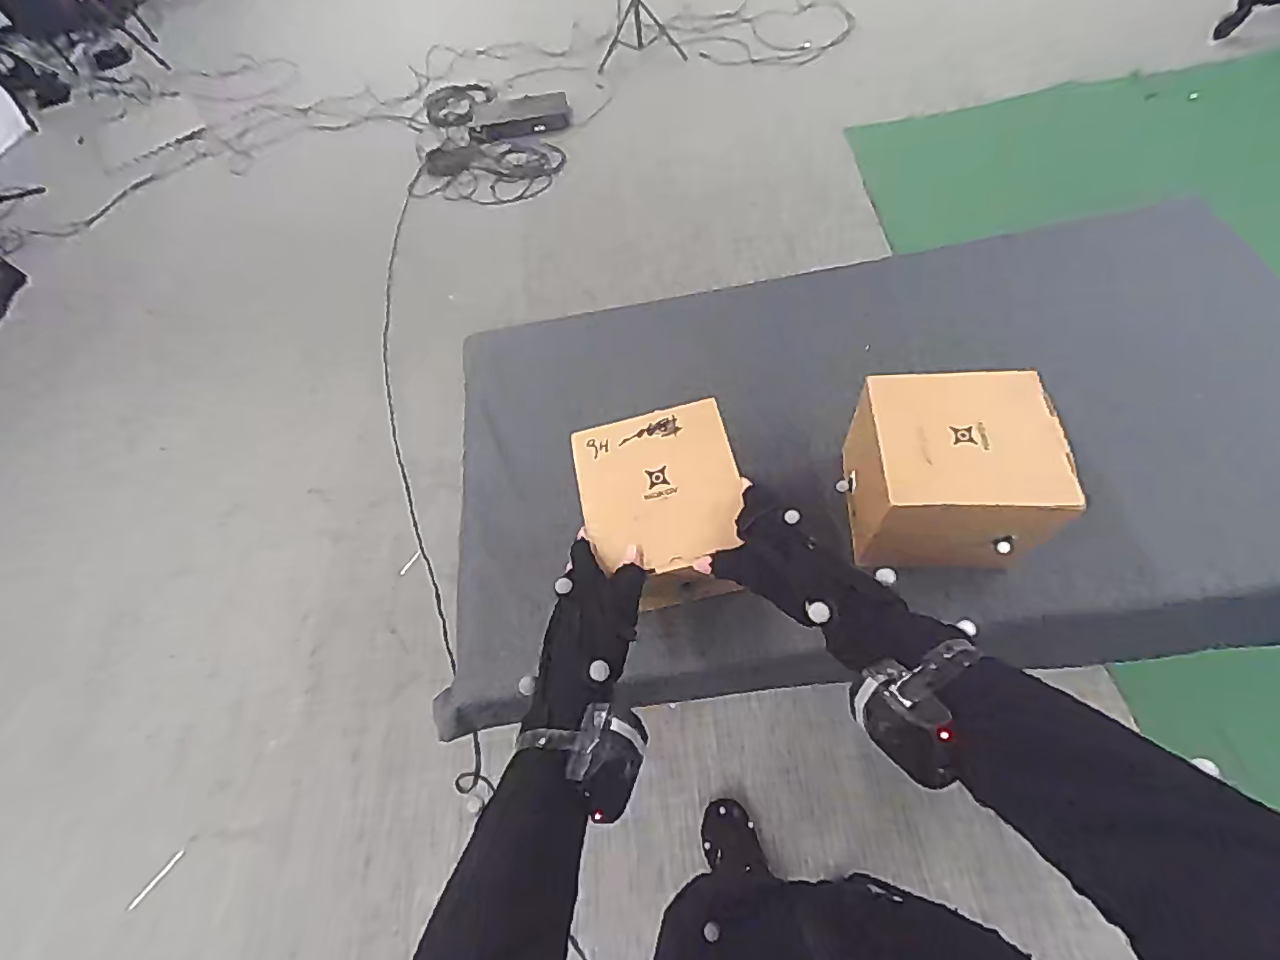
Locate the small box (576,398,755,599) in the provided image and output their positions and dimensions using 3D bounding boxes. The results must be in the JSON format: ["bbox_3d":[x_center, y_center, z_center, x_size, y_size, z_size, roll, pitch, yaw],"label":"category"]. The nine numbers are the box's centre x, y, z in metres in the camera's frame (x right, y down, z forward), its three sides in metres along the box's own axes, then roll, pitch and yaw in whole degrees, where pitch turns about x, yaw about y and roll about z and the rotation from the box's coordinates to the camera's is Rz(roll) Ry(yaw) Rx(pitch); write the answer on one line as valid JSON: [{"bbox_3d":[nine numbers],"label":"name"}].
[{"bbox_3d":[0.033,0.034,0.637,0.168,0.176,0.179,-13,66,3],"label":"small box"}]

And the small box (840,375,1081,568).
[{"bbox_3d":[0.345,-0.004,0.625,0.179,0.176,0.168,0,61,9],"label":"small box"}]
